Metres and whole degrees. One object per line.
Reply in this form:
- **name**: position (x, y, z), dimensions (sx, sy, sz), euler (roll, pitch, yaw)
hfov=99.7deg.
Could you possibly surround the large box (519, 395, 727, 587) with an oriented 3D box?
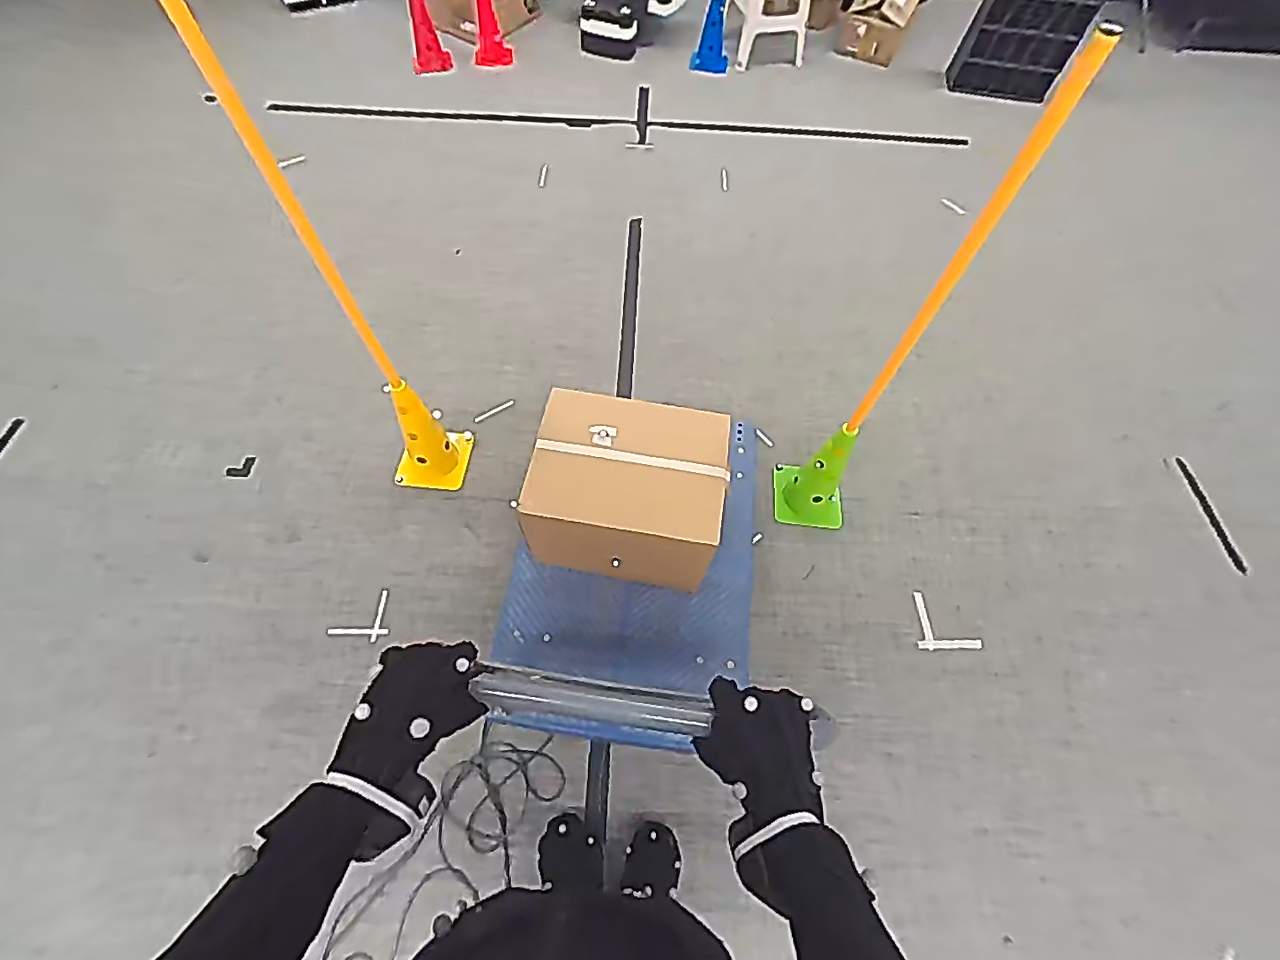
- **large box**: position (-0.025, 0.038, 1.268), dimensions (0.408, 0.320, 0.320), euler (9, 61, 3)

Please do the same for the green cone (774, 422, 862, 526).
- **green cone**: position (0.518, -0.040, 1.498), dimensions (0.202, 0.368, 0.200), euler (7, 61, 0)
